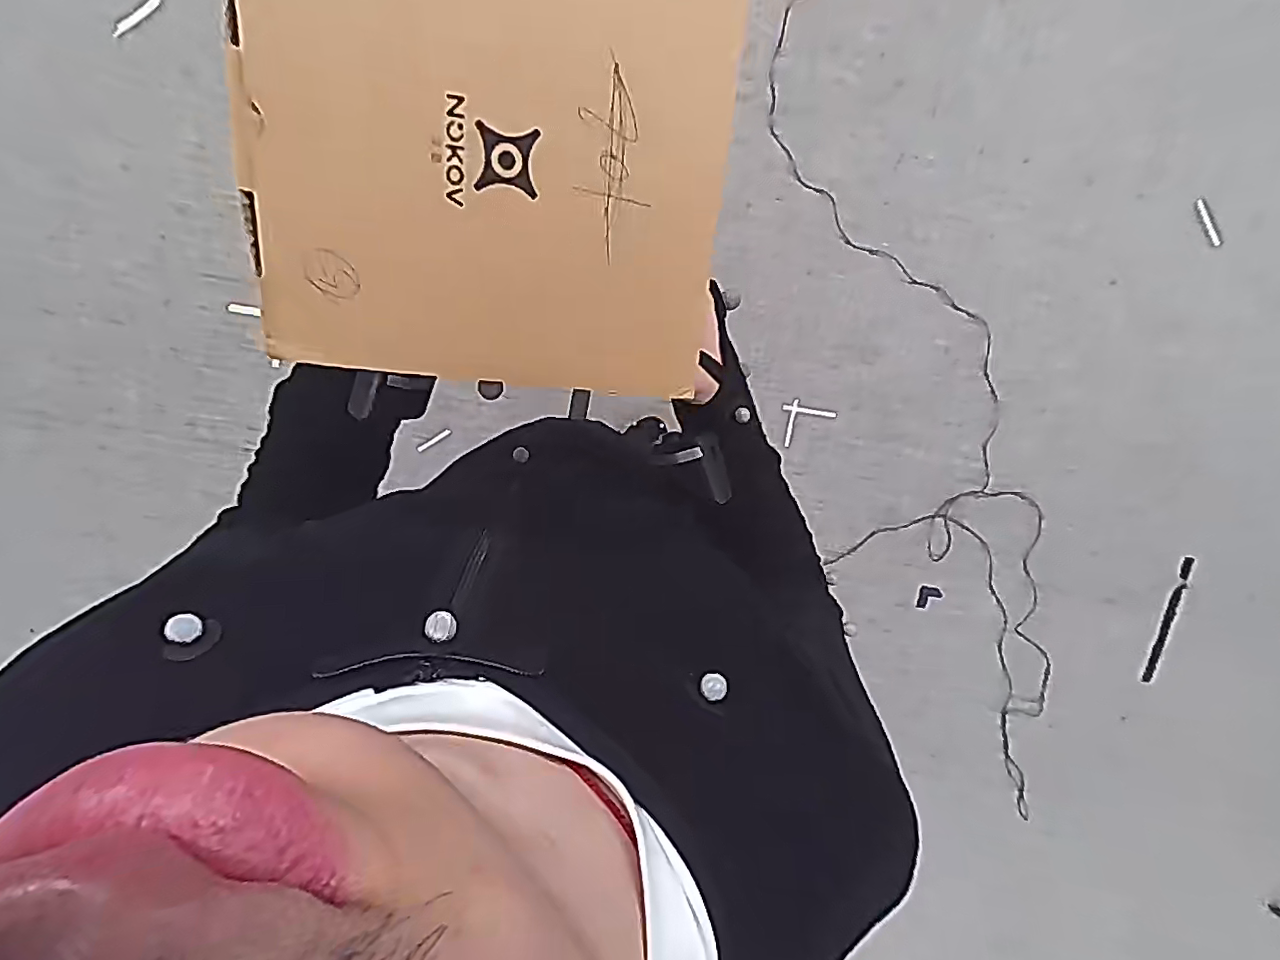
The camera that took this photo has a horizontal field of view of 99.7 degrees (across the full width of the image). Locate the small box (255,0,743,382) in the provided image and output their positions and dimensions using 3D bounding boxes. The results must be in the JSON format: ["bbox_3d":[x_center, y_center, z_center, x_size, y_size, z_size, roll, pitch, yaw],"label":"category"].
[{"bbox_3d":[-0.064,-0.152,0.289,0.179,0.176,0.168,3,108,-10],"label":"small box"}]
